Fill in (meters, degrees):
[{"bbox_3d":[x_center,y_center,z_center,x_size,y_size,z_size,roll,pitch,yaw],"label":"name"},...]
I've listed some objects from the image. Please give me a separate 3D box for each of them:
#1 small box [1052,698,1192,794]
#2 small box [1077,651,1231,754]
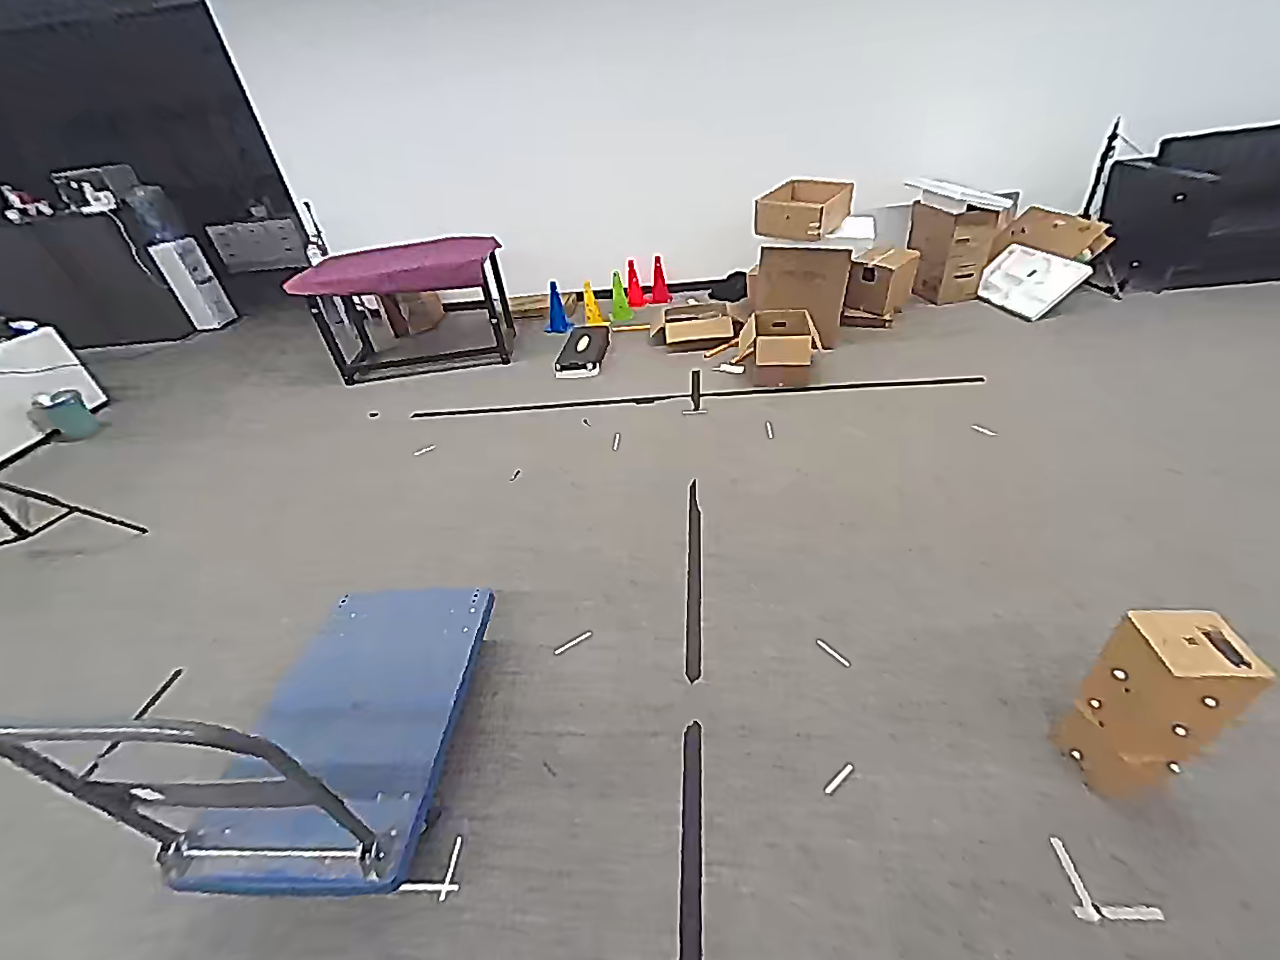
[{"bbox_3d":[1.197,0.657,1.359,0.179,0.176,0.168,-9,35,-3],"label":"small box"},{"bbox_3d":[1.187,0.522,1.269,0.179,0.176,0.168,-2,36,7],"label":"small box"}]
